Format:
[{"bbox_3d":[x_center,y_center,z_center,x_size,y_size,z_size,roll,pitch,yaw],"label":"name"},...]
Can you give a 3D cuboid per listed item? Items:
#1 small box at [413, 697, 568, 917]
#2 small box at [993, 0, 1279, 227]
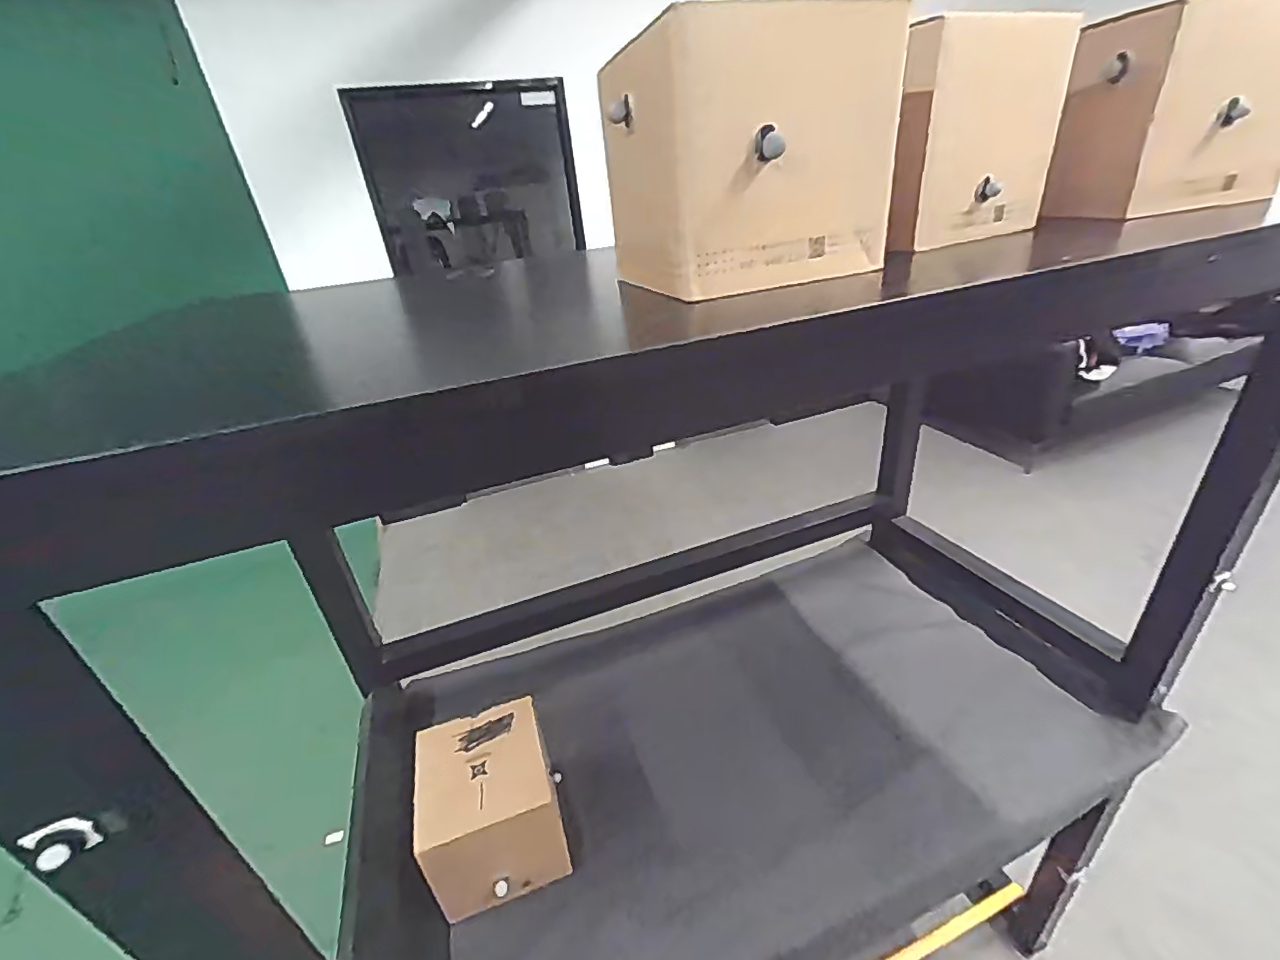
[{"bbox_3d":[-0.205,0.447,0.753,0.168,0.176,0.179,-14,29,-14],"label":"small box"},{"bbox_3d":[0.513,-0.363,0.560,0.168,0.176,0.179,-9,28,-5],"label":"small box"}]
